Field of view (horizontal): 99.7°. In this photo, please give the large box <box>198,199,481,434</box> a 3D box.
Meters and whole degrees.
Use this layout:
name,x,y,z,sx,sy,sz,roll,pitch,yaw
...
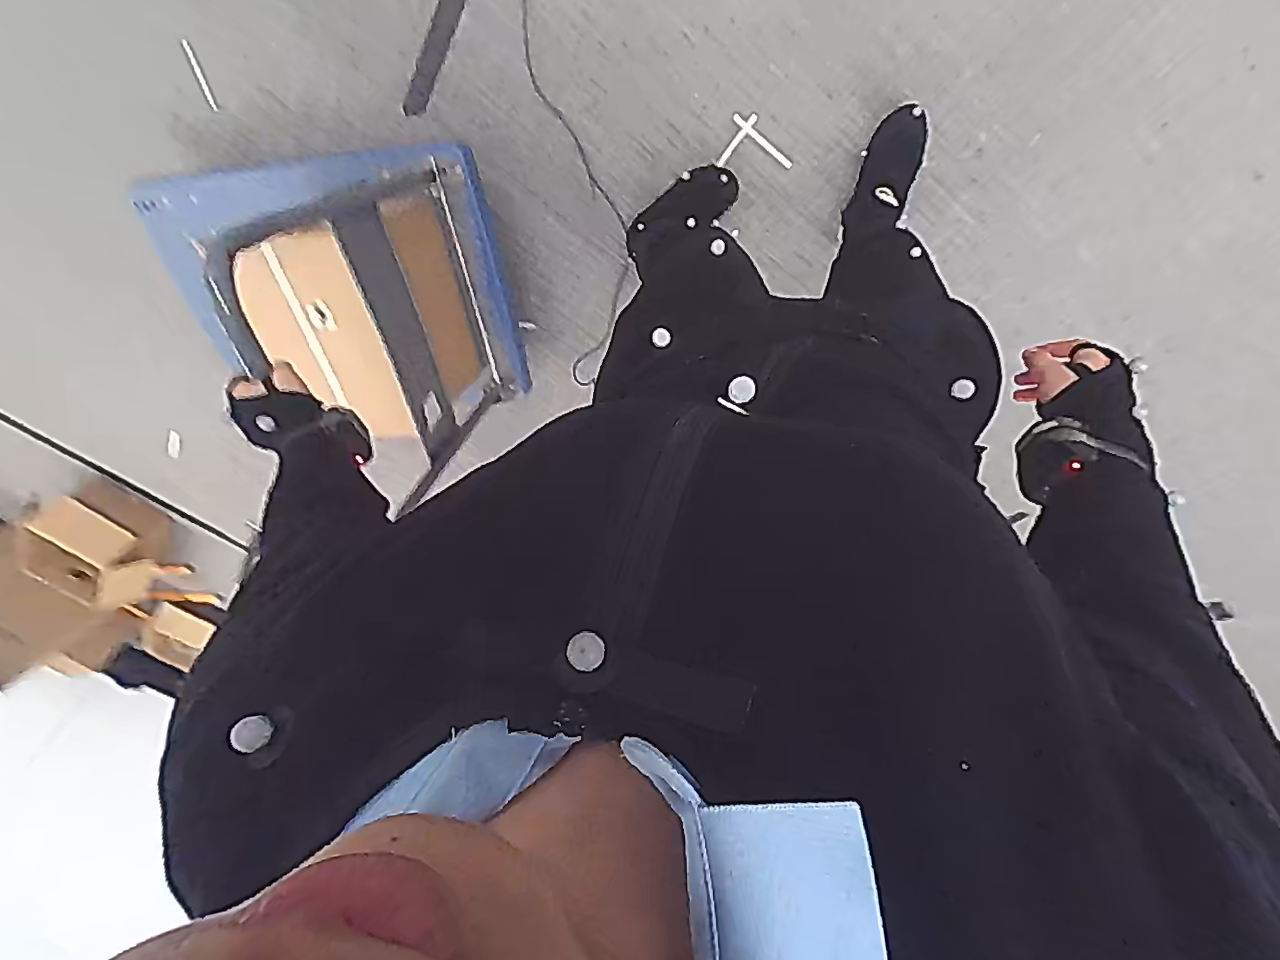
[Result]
name,x,y,z,sx,sy,sz,roll,pitch,yaw
large box,-0.592,-0.347,1.162,0.320,0.320,0.408,1,126,11
